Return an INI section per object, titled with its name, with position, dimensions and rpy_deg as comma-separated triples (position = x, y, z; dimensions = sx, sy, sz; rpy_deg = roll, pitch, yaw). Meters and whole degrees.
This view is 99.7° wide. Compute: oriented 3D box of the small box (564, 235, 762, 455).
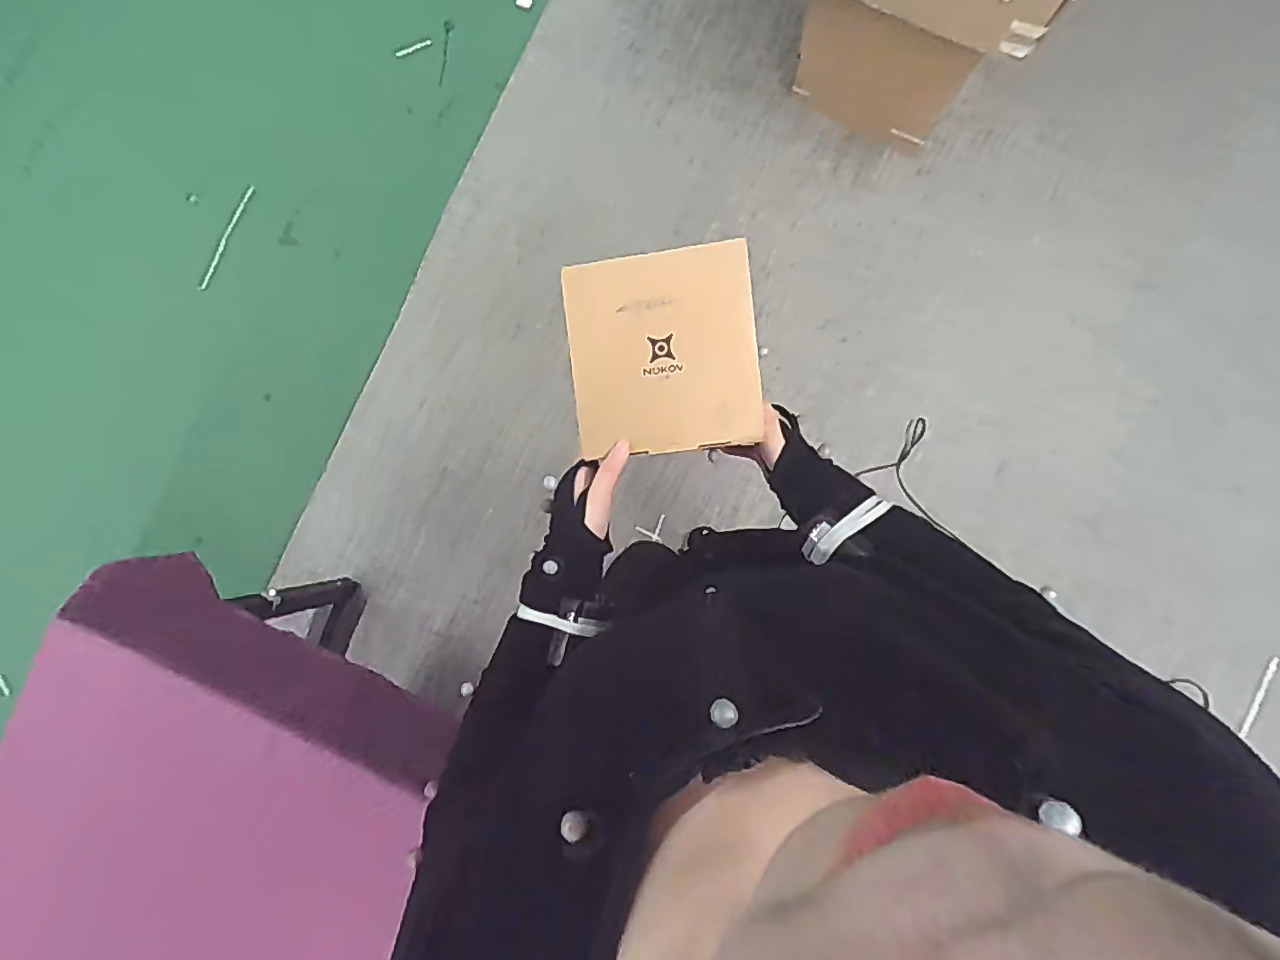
[small box]
position = 0.030, -0.122, 0.553
dimensions = 0.168, 0.176, 0.179
rpy_deg = -5, 93, 7
